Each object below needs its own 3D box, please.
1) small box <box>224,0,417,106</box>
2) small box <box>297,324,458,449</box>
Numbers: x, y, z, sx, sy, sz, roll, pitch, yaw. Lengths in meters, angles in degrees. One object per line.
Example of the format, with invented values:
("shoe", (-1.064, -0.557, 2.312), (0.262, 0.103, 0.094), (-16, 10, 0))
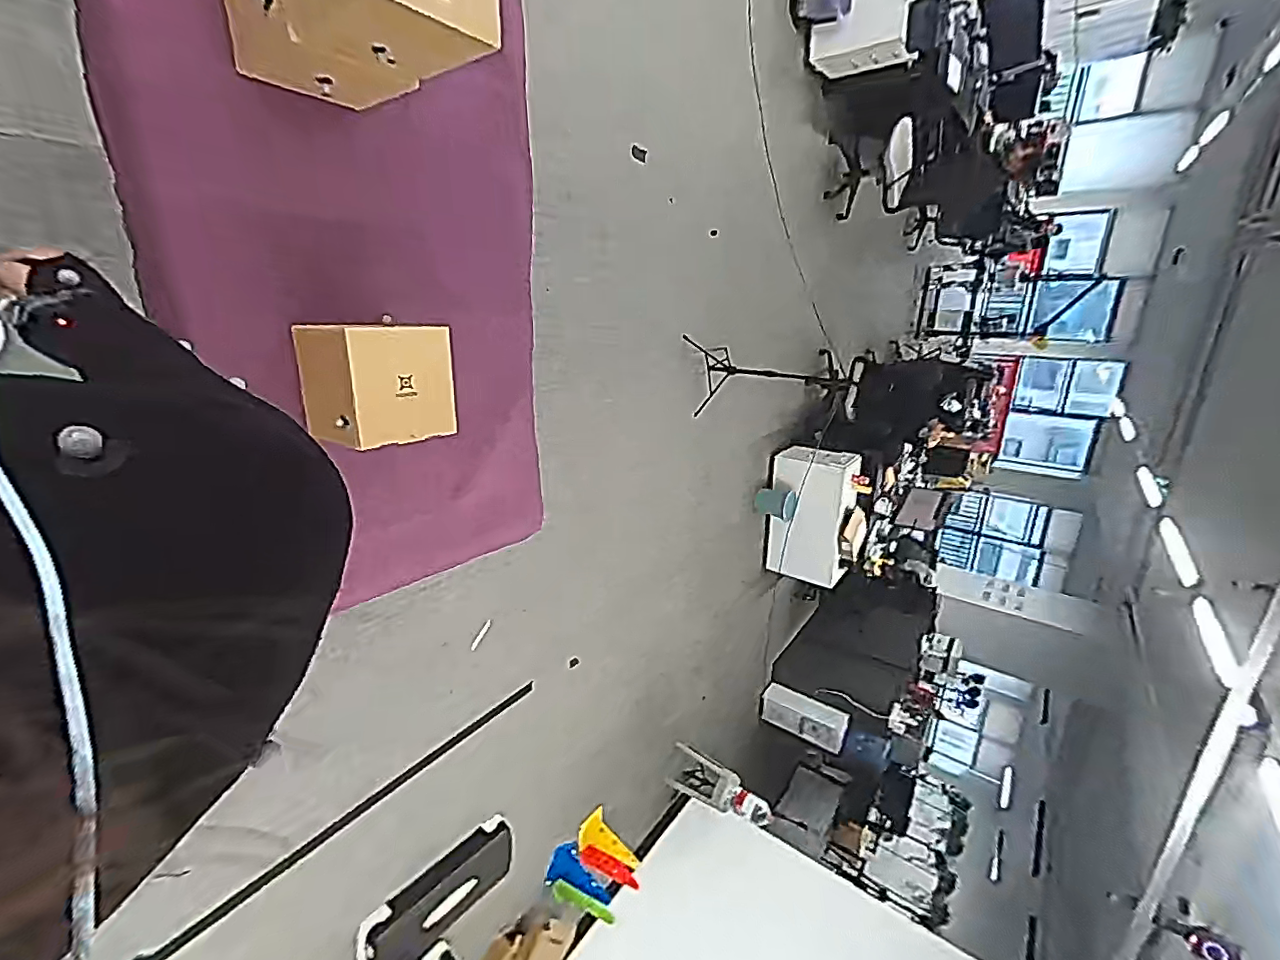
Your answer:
("small box", (-0.417, -0.619, 0.704), (0.168, 0.176, 0.179), (-20, 118, -51))
("small box", (-0.418, -0.158, 0.864), (0.168, 0.176, 0.179), (-21, 119, -50))
